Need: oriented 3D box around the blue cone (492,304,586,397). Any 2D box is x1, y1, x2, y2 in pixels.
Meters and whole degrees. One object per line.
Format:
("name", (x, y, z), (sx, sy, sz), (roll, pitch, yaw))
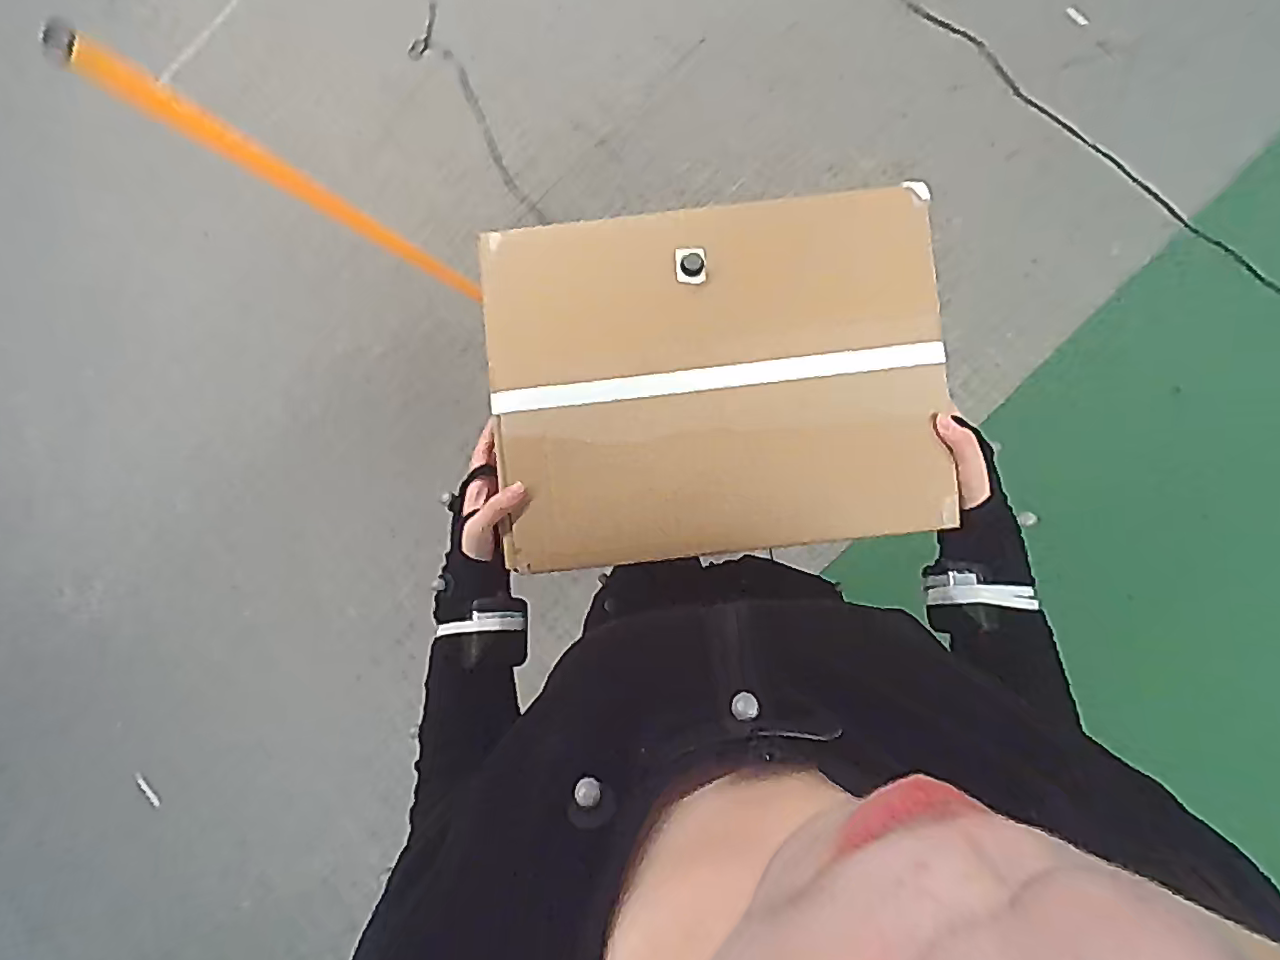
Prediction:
("blue cone", (-0.283, -0.358, 1.373), (0.192, 0.380, 0.193), (43, 92, 6))
